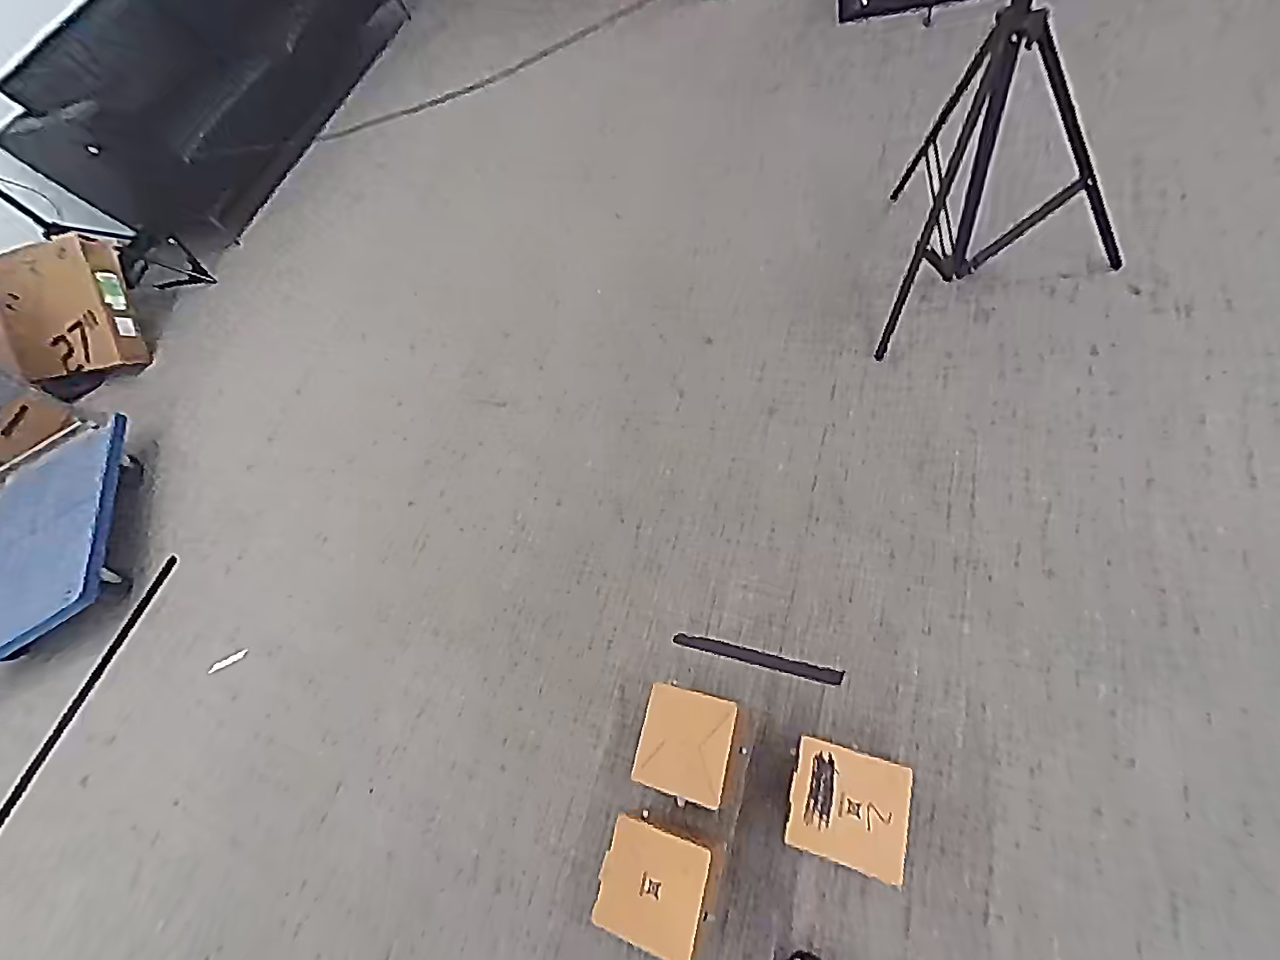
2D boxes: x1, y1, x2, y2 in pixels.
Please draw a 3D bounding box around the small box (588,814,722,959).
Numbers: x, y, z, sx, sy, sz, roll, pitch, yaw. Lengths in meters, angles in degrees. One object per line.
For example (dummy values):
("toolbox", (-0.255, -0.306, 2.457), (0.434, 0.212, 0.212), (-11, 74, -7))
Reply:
("small box", (0.037, 0.716, 0.964), (0.179, 0.176, 0.168), (8, 66, 23))
